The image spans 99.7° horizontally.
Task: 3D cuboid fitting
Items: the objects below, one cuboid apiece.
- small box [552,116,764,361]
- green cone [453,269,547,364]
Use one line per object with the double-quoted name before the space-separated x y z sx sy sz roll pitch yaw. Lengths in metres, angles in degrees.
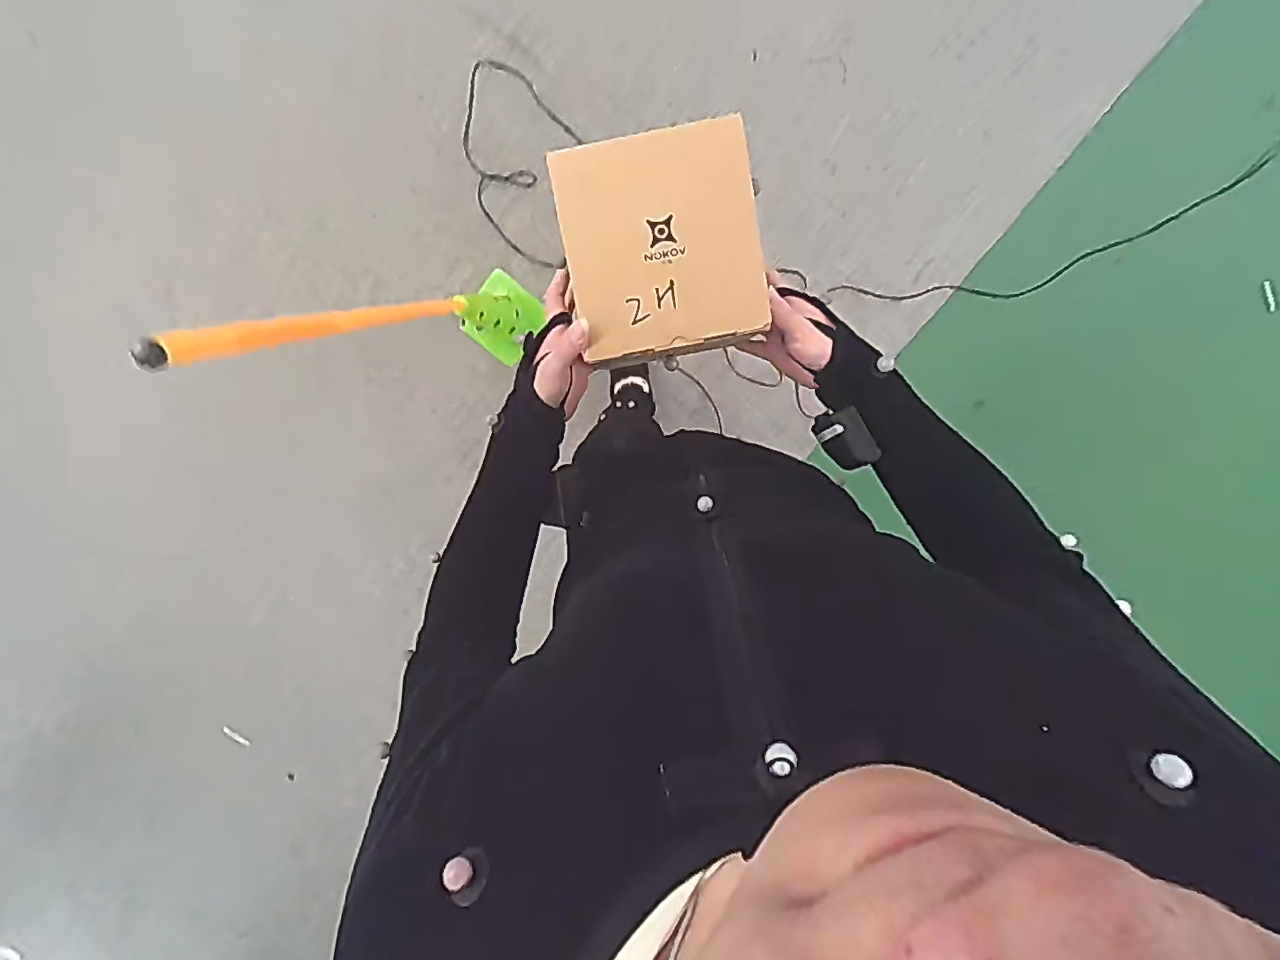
"small box" 0.016 -0.221 0.543 0.168 0.176 0.179 -9 101 1
"green cone" -0.392 -0.426 1.363 0.200 0.368 0.202 39 99 -7
